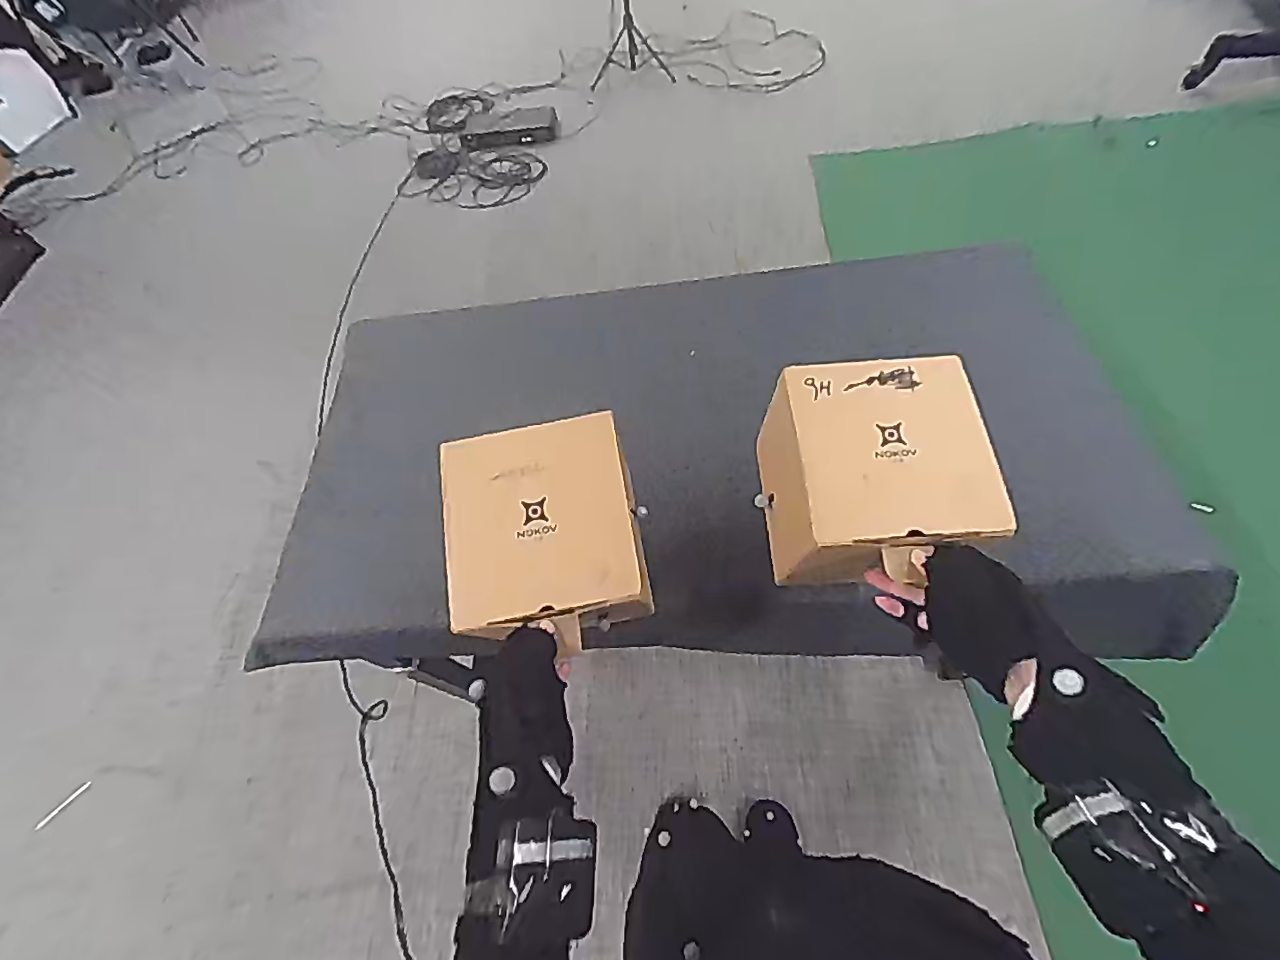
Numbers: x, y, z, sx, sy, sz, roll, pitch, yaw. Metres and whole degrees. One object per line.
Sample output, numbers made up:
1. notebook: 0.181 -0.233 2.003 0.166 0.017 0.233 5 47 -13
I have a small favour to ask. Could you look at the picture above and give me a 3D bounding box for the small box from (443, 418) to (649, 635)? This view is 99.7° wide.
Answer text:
1. small box: -0.088 0.061 0.567 0.168 0.176 0.179 -12 70 0
